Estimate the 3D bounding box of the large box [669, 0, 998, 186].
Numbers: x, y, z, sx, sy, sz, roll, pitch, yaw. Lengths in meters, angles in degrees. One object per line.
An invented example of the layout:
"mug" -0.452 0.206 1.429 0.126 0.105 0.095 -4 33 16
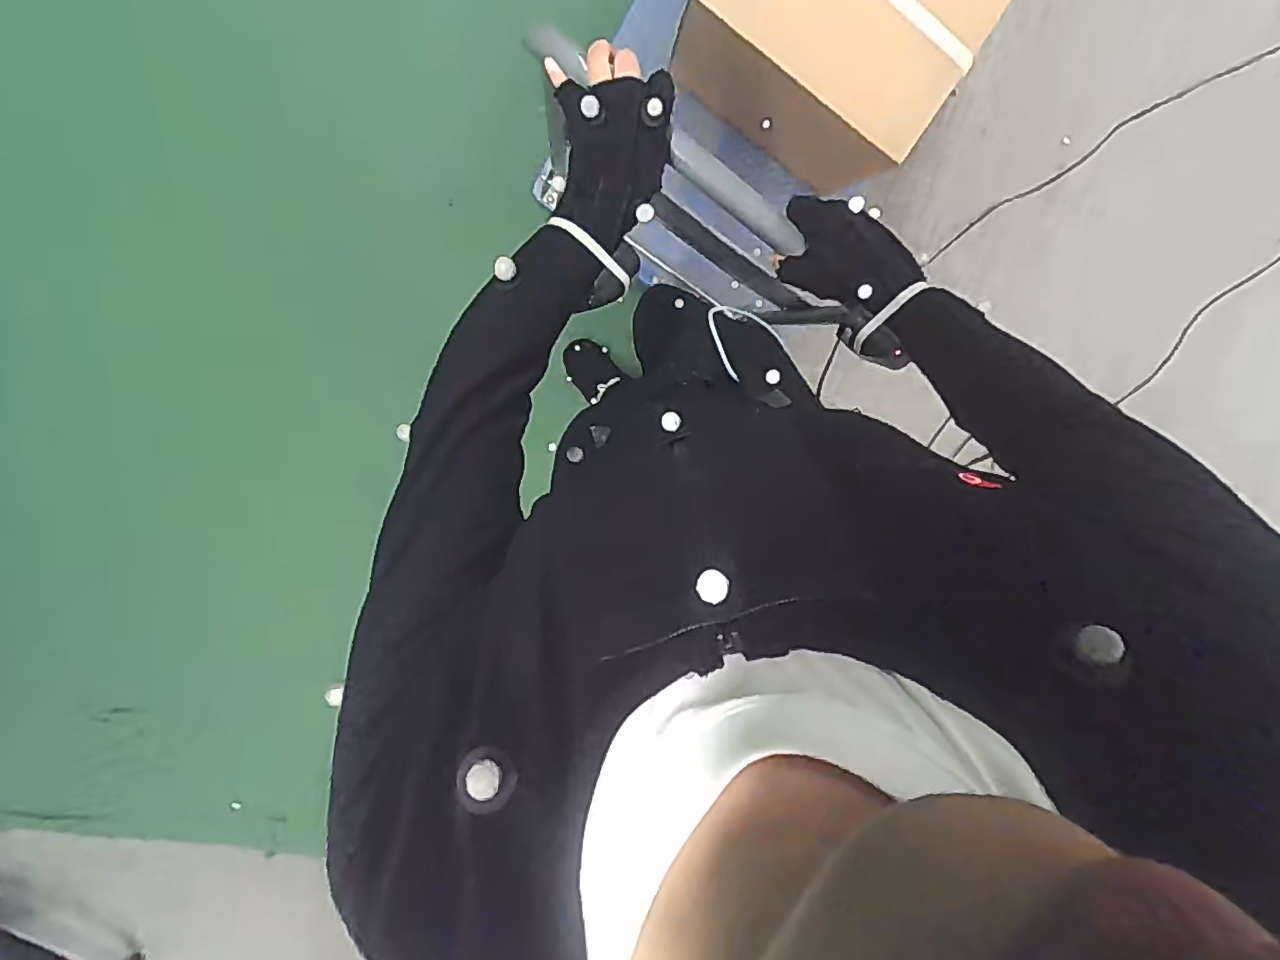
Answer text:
"large box" 0.307 -0.776 0.917 0.408 0.320 0.320 29 104 -13
